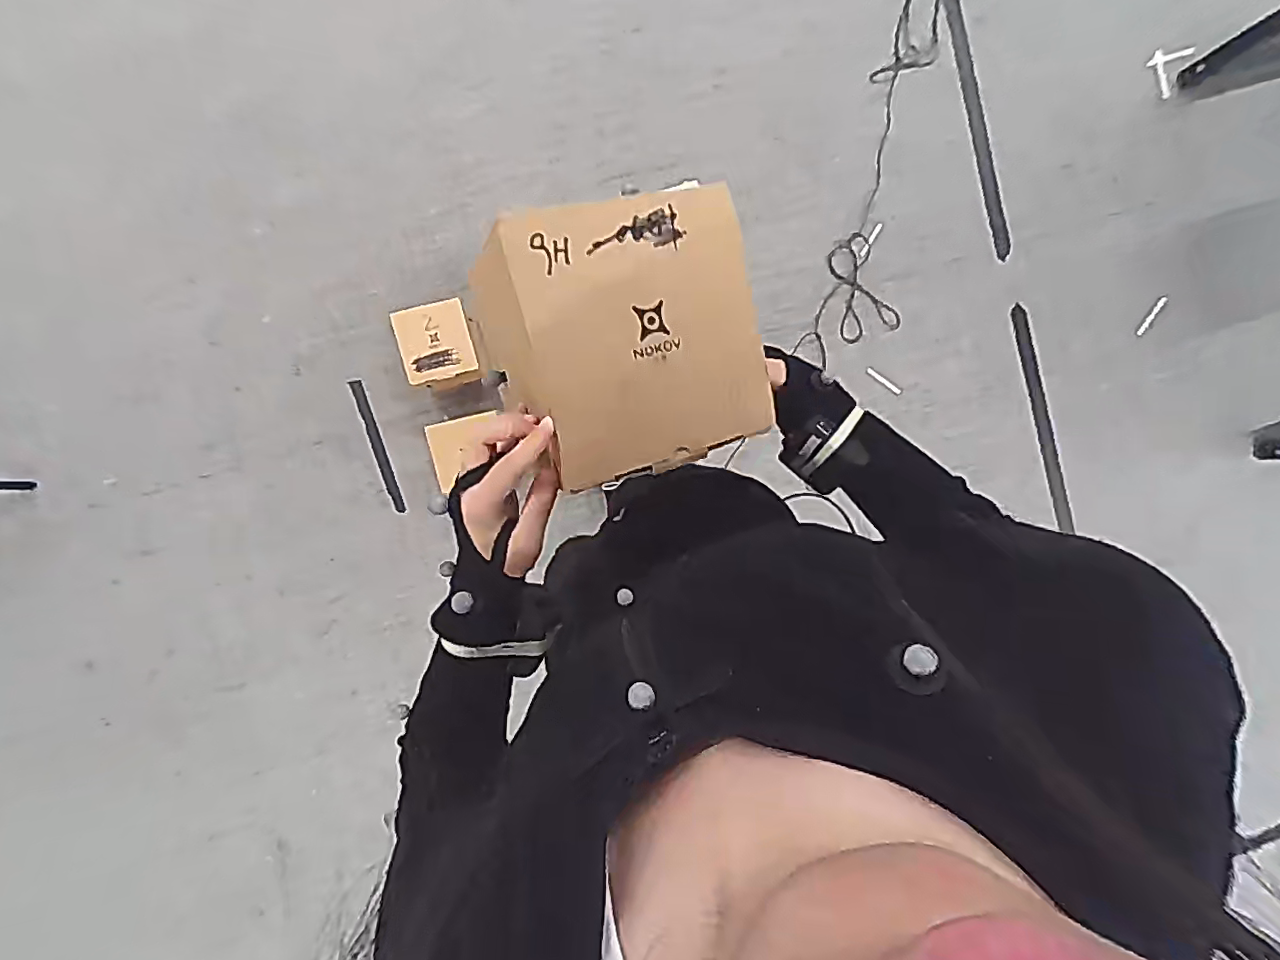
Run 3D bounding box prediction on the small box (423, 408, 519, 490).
[{"bbox_3d":[-0.415,-0.076,1.358,0.179,0.176,0.168,-14,95,-5],"label":"small box"}]
